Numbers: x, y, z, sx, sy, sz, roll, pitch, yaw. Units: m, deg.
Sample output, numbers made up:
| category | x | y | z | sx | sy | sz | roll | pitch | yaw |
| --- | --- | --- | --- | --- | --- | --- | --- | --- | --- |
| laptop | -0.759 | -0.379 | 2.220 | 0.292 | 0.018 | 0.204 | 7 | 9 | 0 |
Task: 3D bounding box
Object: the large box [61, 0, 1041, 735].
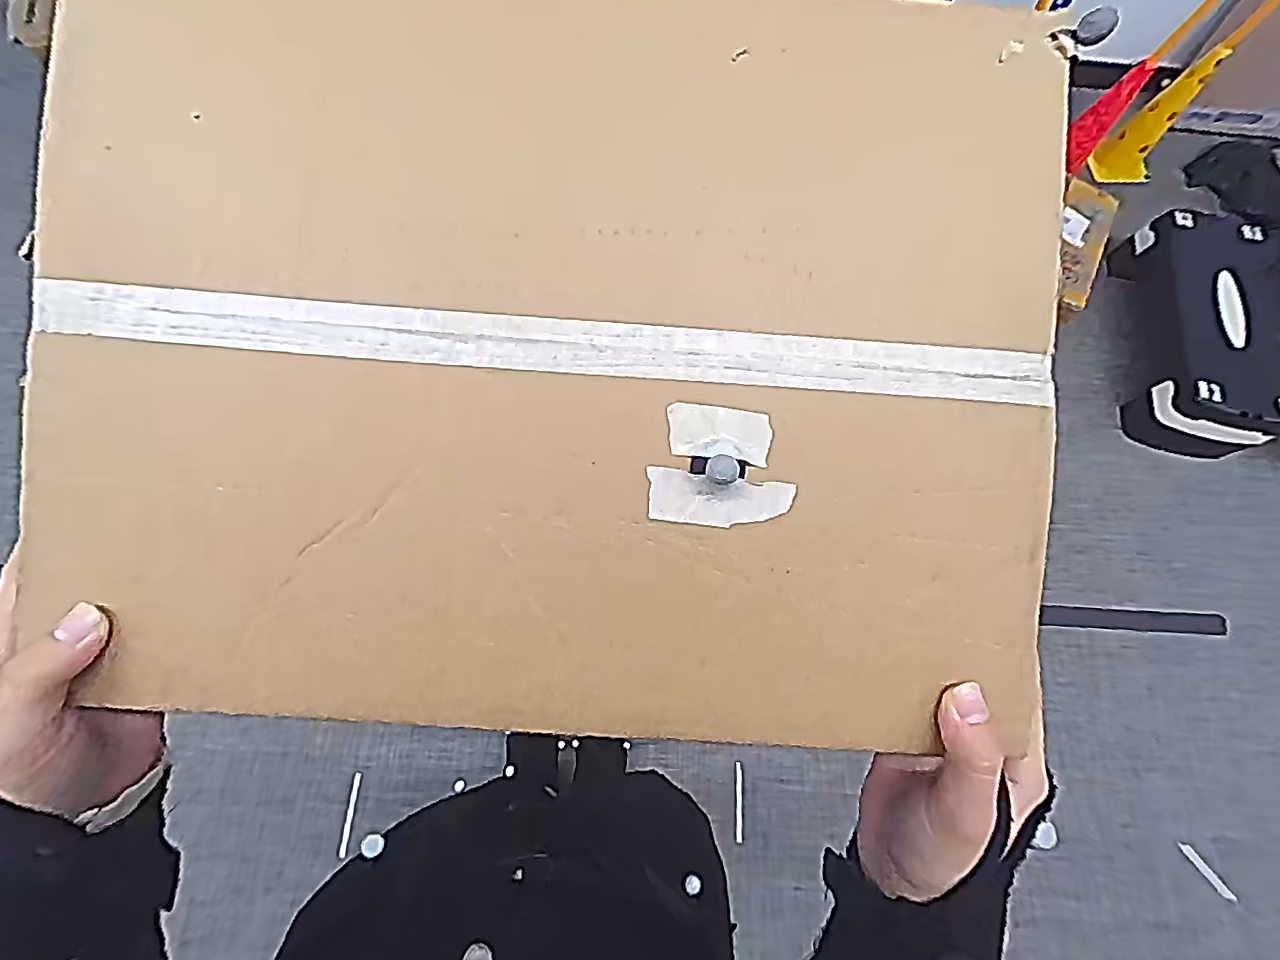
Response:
| category | x | y | z | sx | sy | sz | roll | pitch | yaw |
| --- | --- | --- | --- | --- | --- | --- | --- | --- | --- |
| large box | -0.036 | -0.049 | 0.378 | 0.408 | 0.320 | 0.320 | 4 | 90 | -3 |
